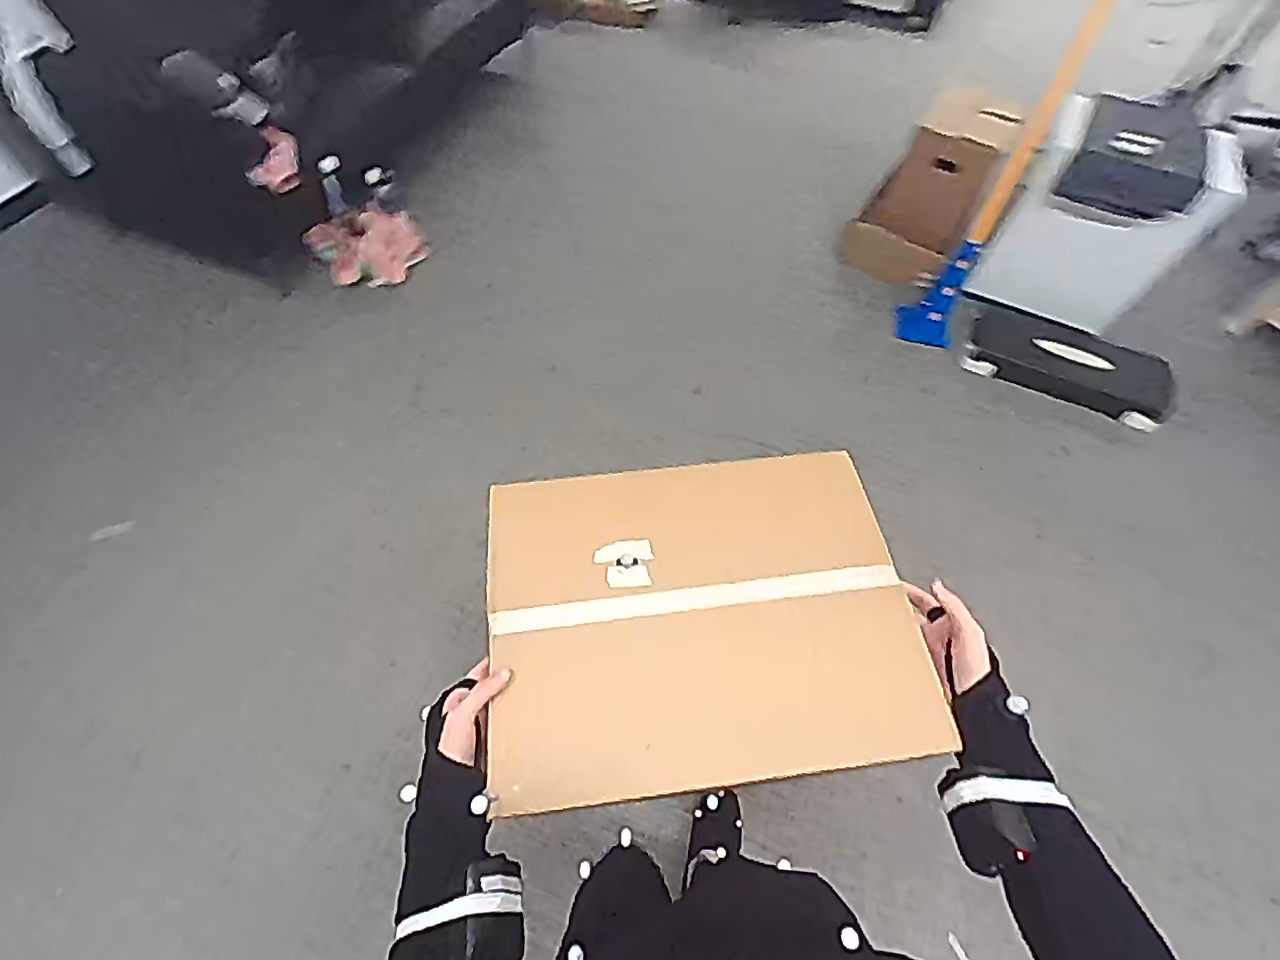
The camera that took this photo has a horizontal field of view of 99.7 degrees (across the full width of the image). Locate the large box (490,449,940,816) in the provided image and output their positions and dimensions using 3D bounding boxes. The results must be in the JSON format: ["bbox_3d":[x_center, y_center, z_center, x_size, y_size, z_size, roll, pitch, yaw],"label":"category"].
[{"bbox_3d":[0.055,0.196,0.671,0.408,0.320,0.320,-8,59,-4],"label":"large box"}]
